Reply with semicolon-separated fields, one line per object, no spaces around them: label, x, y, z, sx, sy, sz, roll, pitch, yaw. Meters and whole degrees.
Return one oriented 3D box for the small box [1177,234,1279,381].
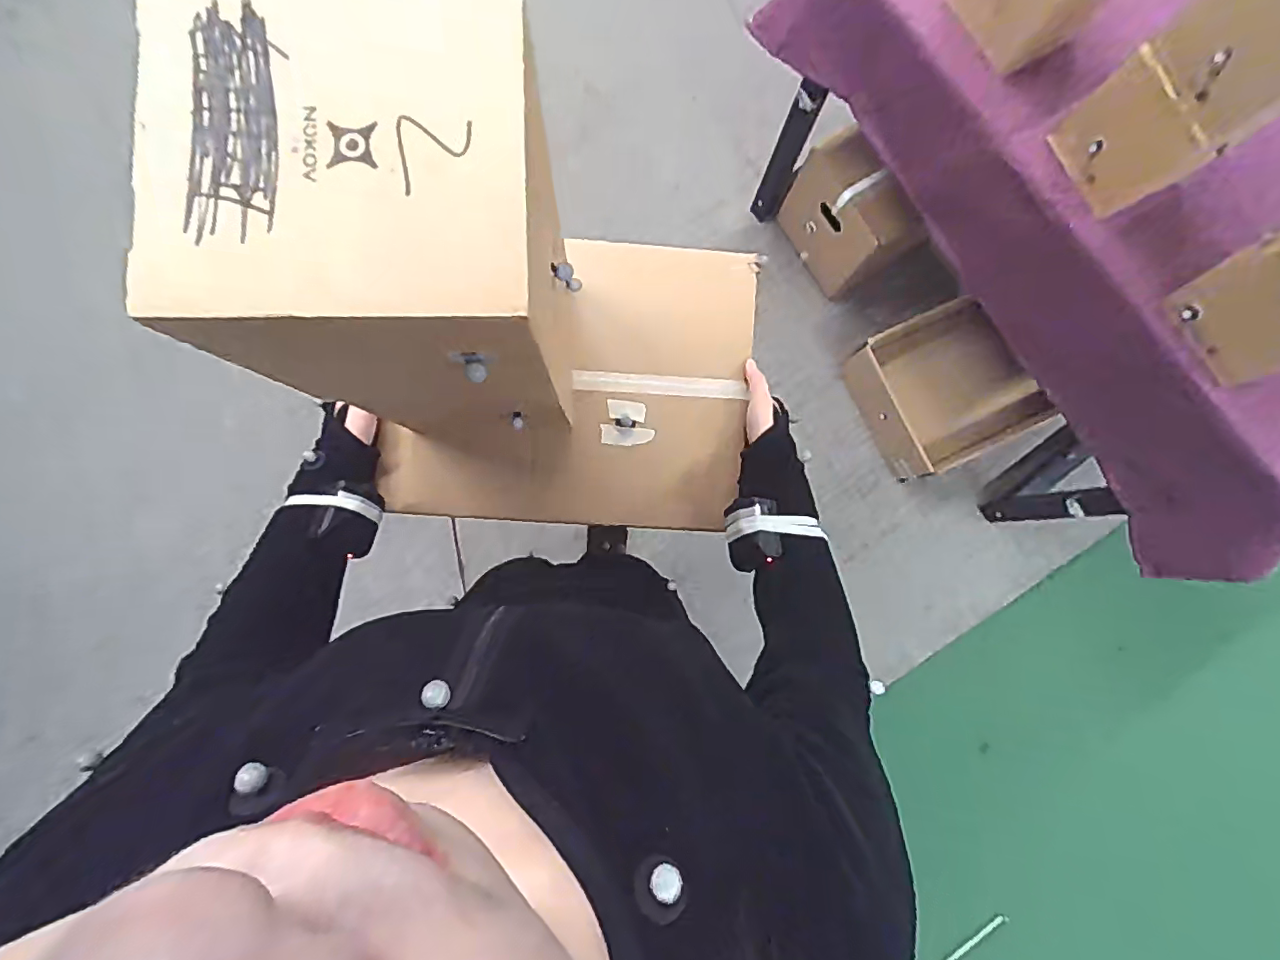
small box;0.958;-0.270;0.792;0.179;0.176;0.168;-31;86;-6

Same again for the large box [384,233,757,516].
large box;-0.082;-0.116;0.742;0.408;0.320;0.320;3;89;-3

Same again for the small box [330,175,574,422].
small box;-0.152;-0.148;0.494;0.179;0.176;0.168;-1;87;-3

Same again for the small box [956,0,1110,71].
small box;0.635;-0.796;0.833;0.168;0.176;0.179;-31;86;-5

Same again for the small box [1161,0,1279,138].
small box;0.812;-0.567;0.654;0.179;0.176;0.168;-26;85;-5

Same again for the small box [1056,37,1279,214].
small box;0.797;-0.547;0.817;0.179;0.176;0.168;-27;86;-5
